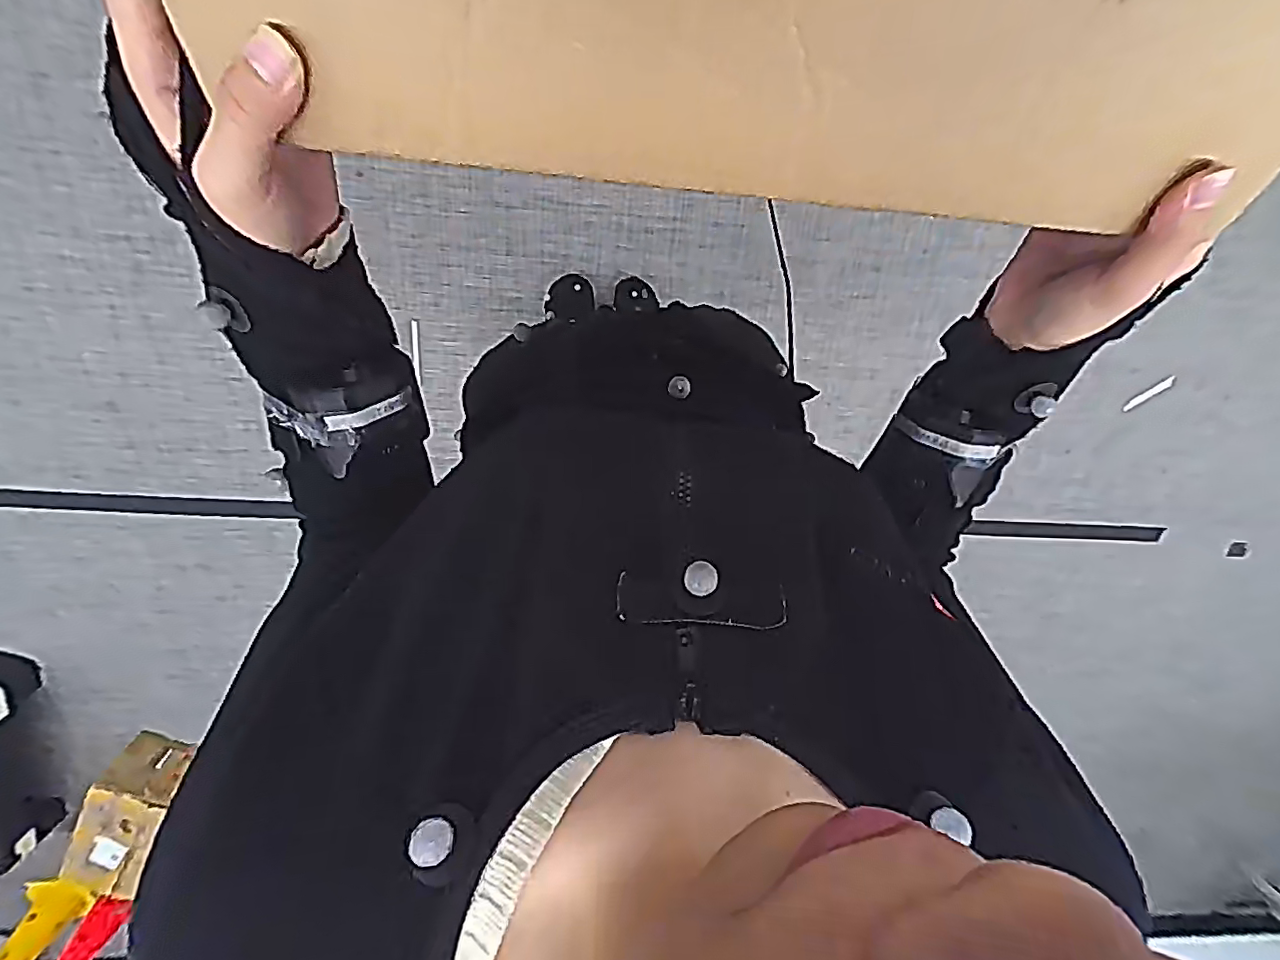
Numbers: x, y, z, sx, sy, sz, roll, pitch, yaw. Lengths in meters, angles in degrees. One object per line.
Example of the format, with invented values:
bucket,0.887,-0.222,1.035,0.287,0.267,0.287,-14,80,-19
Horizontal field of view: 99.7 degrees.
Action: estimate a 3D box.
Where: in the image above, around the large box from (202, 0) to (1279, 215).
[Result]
large box,0.059,-0.334,0.203,0.408,0.320,0.320,2,141,-6
